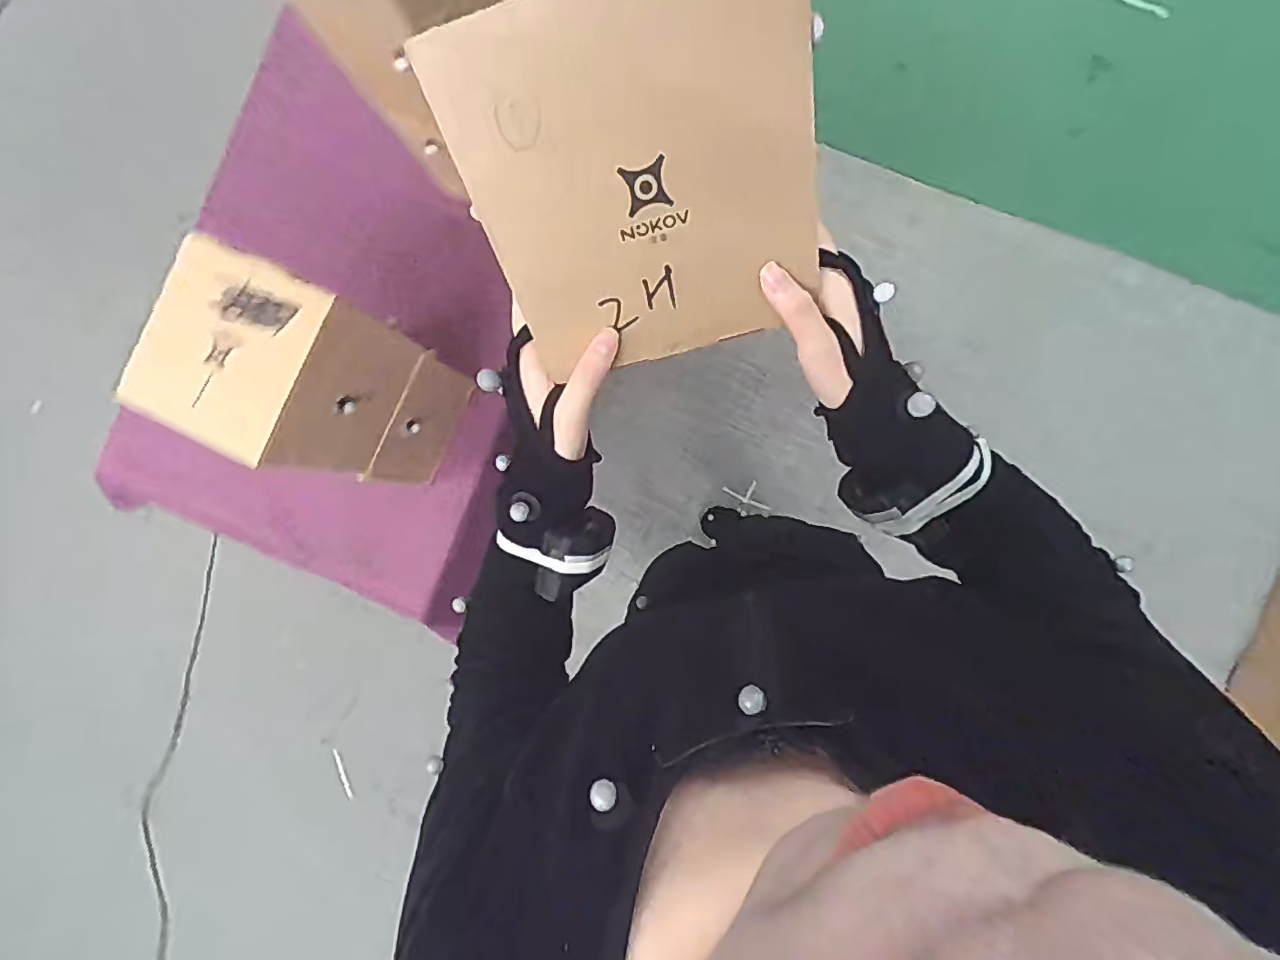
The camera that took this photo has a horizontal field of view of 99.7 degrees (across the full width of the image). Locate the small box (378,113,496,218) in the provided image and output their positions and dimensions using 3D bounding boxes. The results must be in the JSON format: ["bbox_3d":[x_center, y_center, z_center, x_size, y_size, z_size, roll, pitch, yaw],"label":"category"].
[{"bbox_3d":[-0.215,-0.495,0.750,0.168,0.176,0.179,23,89,7],"label":"small box"}]

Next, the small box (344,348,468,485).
[{"bbox_3d":[-0.366,-0.102,0.747,0.168,0.176,0.179,24,89,6],"label":"small box"}]

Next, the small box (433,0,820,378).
[{"bbox_3d":[0.004,-0.195,0.331,0.168,0.179,0.176,-11,43,8],"label":"small box"}]

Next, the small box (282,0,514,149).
[{"bbox_3d":[-0.242,-0.505,0.589,0.179,0.176,0.168,24,90,5],"label":"small box"}]

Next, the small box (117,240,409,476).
[{"bbox_3d":[-0.382,-0.115,0.584,0.168,0.176,0.179,24,91,6],"label":"small box"}]
